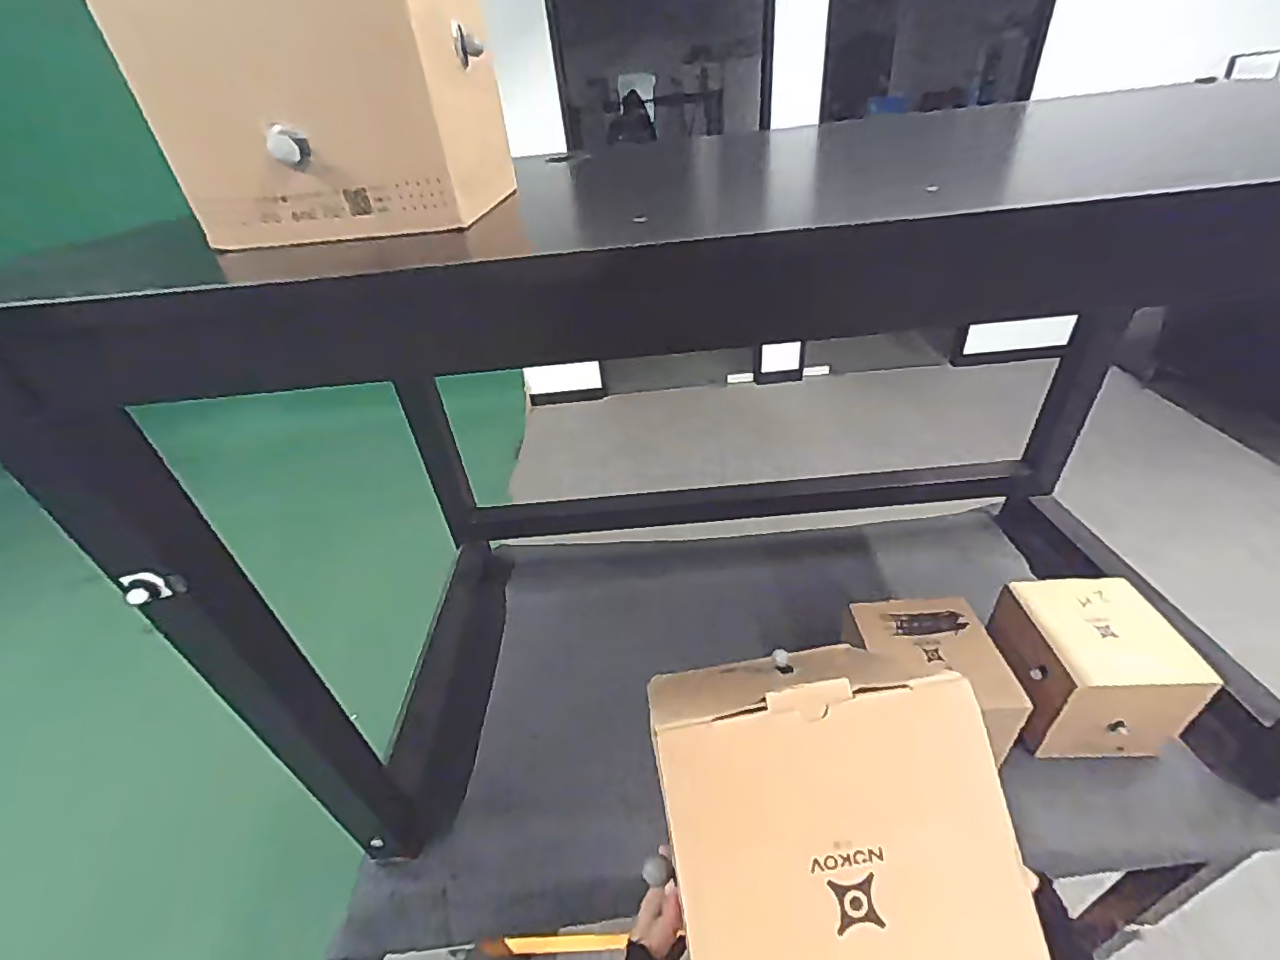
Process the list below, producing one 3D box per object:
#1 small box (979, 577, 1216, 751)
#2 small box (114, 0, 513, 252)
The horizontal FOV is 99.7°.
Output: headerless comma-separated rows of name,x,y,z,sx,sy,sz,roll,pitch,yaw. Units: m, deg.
small box,0.618,0.260,0.762,0.168,0.176,0.179,-3,35,5
small box,-0.193,-0.262,0.364,0.168,0.176,0.179,-4,36,3
